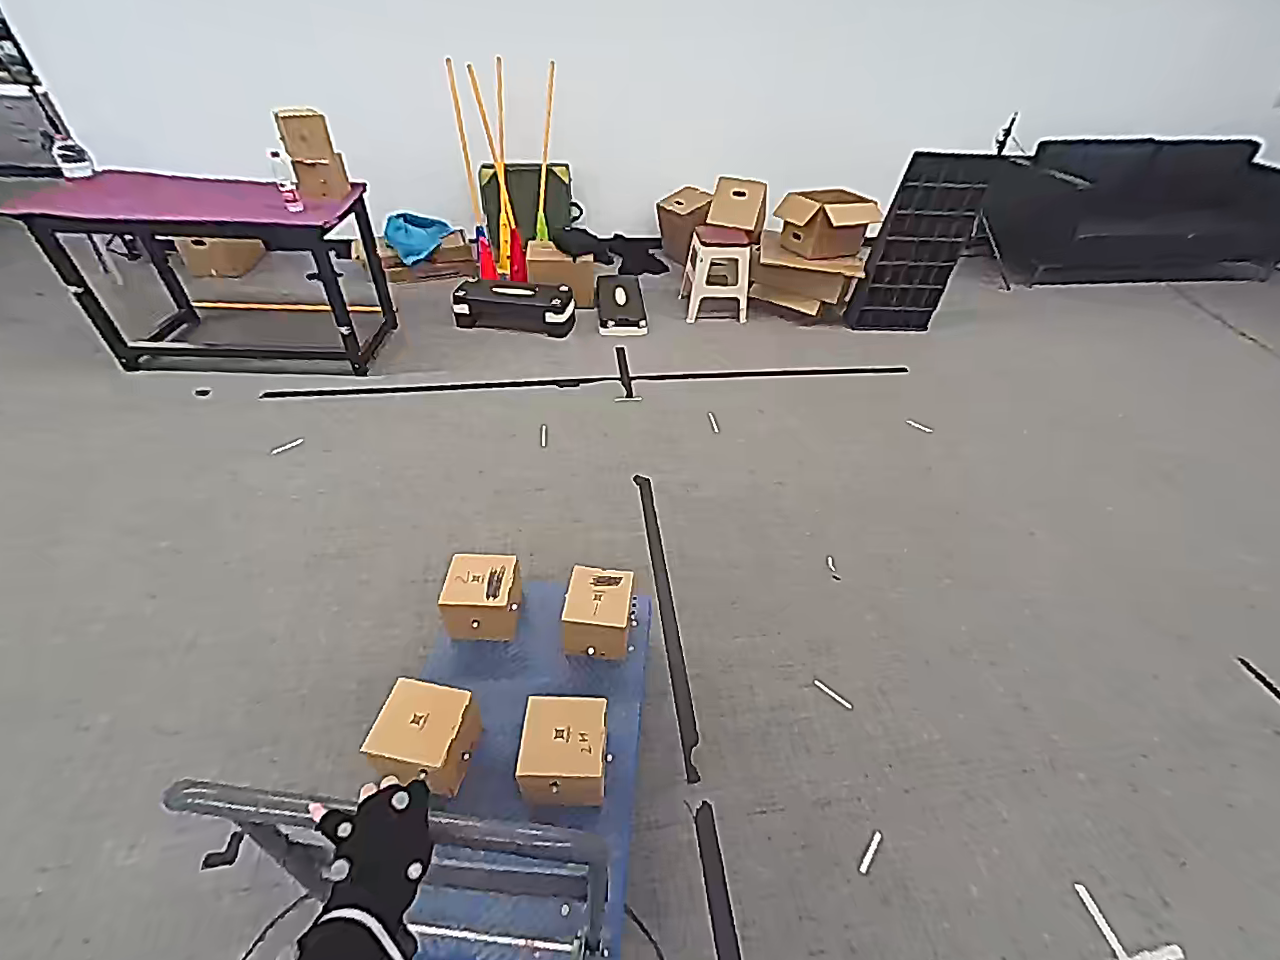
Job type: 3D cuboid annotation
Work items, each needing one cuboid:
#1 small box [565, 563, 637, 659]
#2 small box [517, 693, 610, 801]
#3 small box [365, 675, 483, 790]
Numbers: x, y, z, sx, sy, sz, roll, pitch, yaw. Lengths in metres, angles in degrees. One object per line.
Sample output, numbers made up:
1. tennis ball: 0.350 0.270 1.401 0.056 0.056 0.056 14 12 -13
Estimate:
1. small box: -0.102 0.353 1.458 0.168 0.176 0.179 6 44 3
2. small box: -0.160 0.591 1.194 0.179 0.176 0.168 3 43 0
3. small box: -0.468 0.564 1.203 0.179 0.176 0.168 10 42 4
